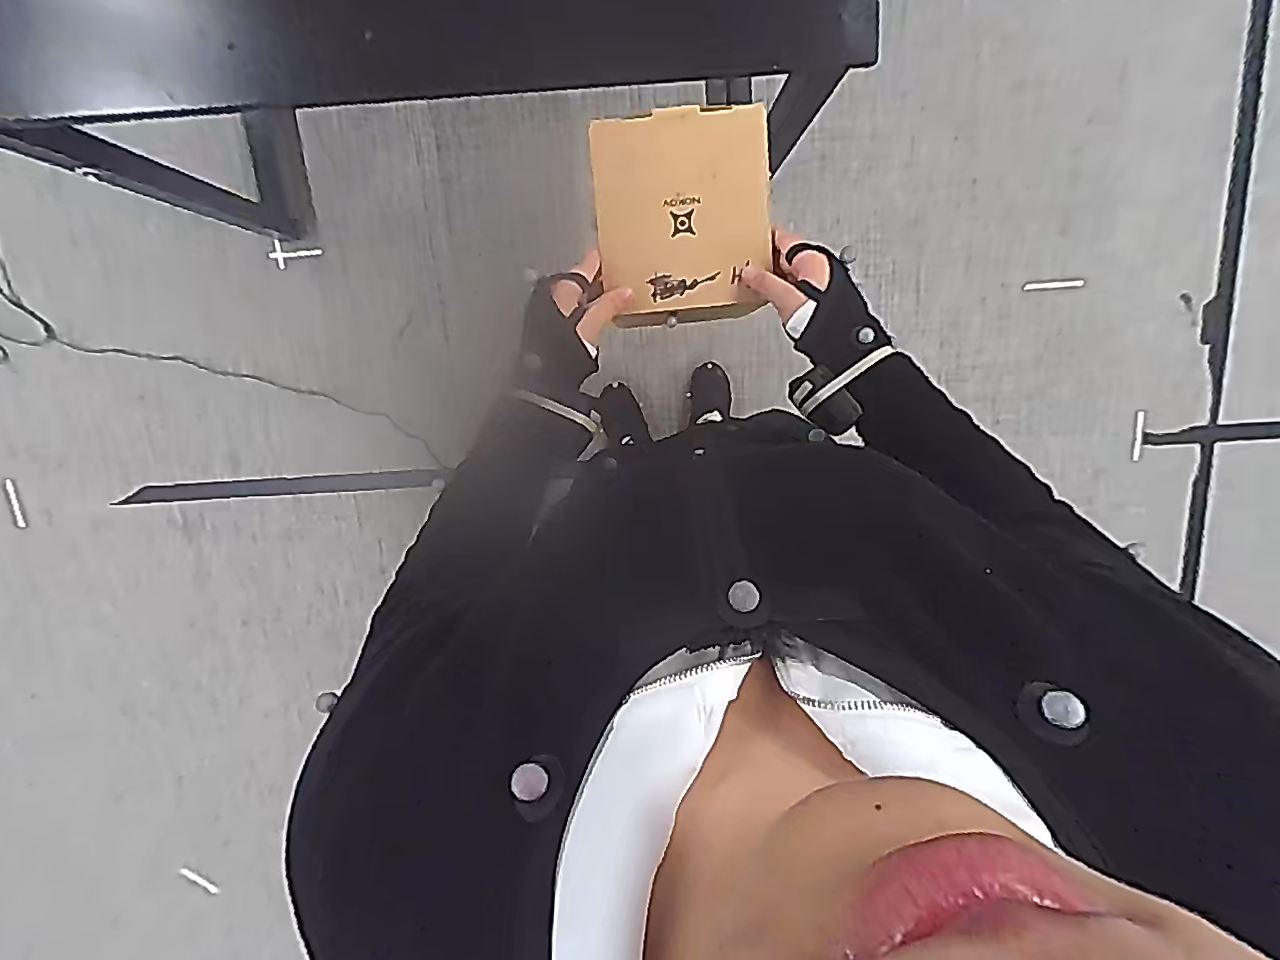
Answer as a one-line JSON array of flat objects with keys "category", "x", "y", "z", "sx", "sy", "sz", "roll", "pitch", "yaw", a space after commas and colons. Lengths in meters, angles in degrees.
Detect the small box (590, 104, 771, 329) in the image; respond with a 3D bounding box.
[{"category": "small box", "x": 0.041, "y": -0.268, "z": 0.590, "sx": 0.168, "sy": 0.176, "sz": 0.179, "roll": -5, "pitch": 101, "yaw": 2}]
